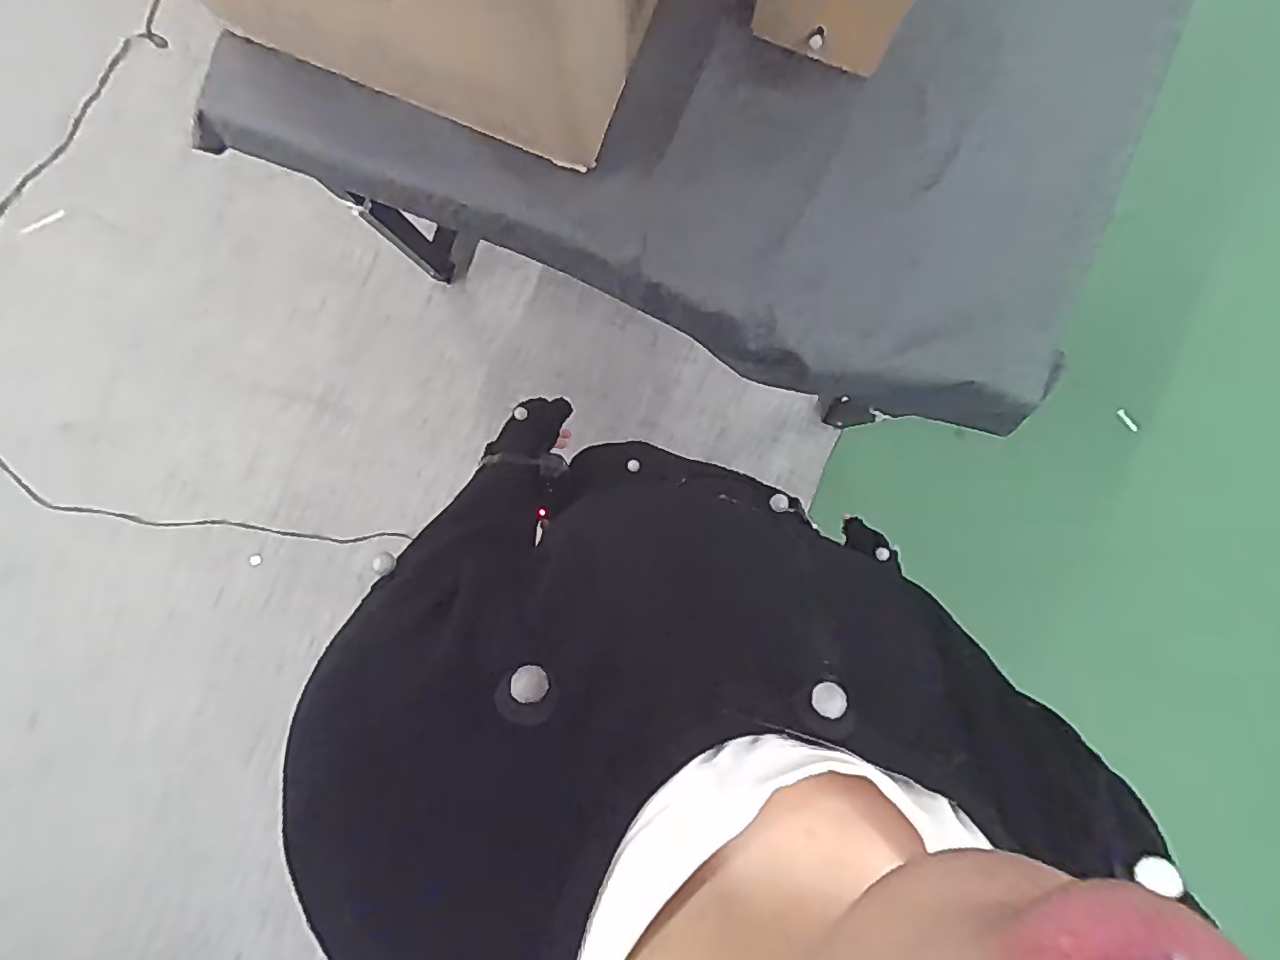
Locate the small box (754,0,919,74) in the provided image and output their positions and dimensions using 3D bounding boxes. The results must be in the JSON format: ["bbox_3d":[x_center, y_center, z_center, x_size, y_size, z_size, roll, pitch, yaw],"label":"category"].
[{"bbox_3d":[0.258,-0.638,0.645,0.179,0.176,0.168,21,92,0],"label":"small box"}]
